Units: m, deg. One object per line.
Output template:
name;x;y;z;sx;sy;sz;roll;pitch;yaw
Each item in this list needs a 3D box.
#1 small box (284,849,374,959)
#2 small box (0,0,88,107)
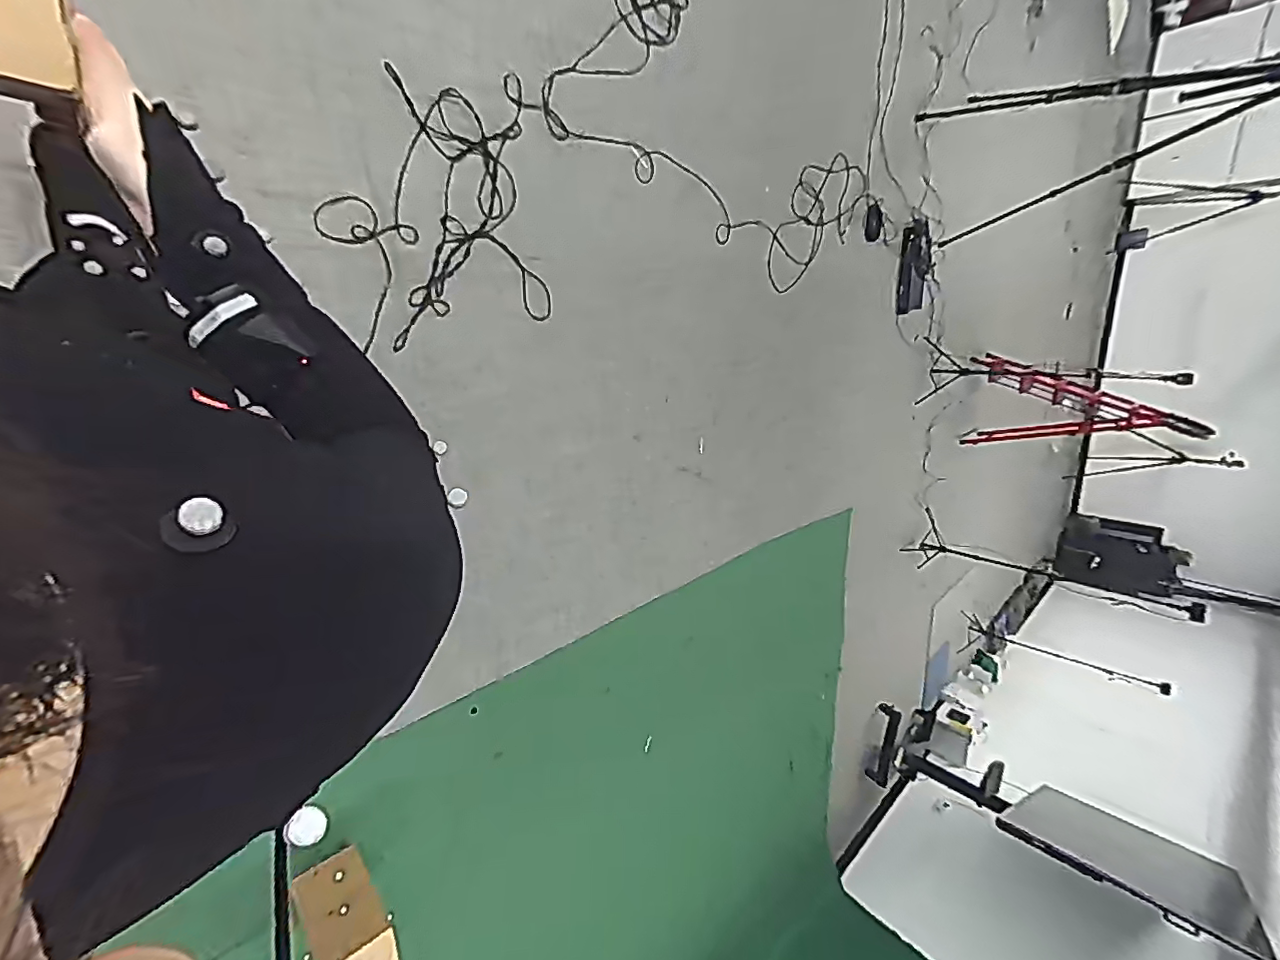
small box;-0.865;1.175;1.501;0.168;0.176;0.179;-16;112;-41
small box;-0.406;-0.302;0.263;0.179;0.176;0.168;-9;120;-42
